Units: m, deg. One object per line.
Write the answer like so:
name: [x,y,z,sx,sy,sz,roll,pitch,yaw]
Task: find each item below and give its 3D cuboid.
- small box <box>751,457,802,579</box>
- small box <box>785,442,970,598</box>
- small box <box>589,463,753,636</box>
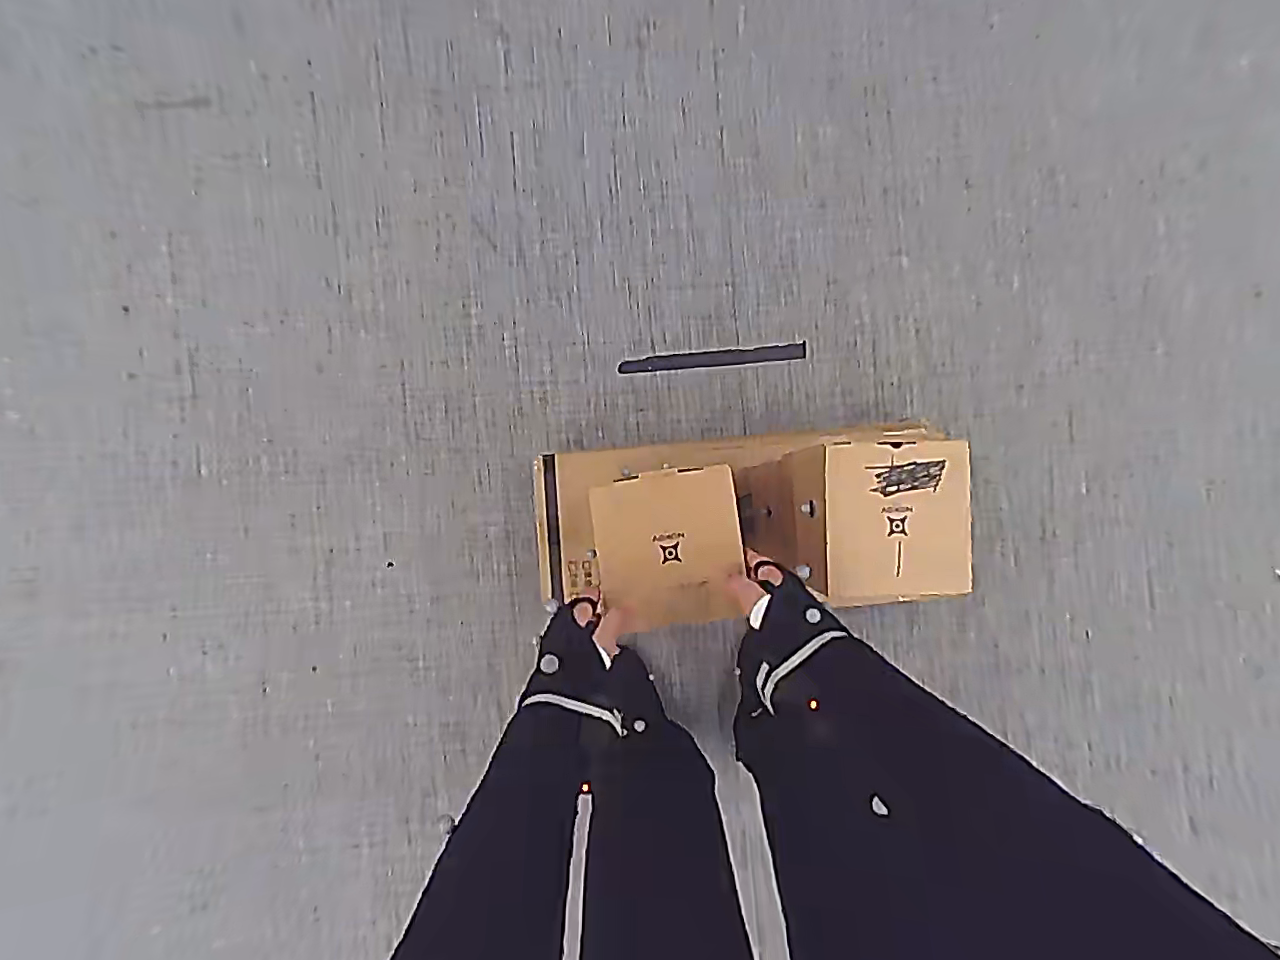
small box: [0.277,0.053,0.854,0.168,0.176,0.179,-5,89,0]
small box: [0.288,0.047,0.690,0.168,0.176,0.179,-1,89,0]
small box: [0.033,0.080,0.685,0.168,0.176,0.179,-9,90,0]
